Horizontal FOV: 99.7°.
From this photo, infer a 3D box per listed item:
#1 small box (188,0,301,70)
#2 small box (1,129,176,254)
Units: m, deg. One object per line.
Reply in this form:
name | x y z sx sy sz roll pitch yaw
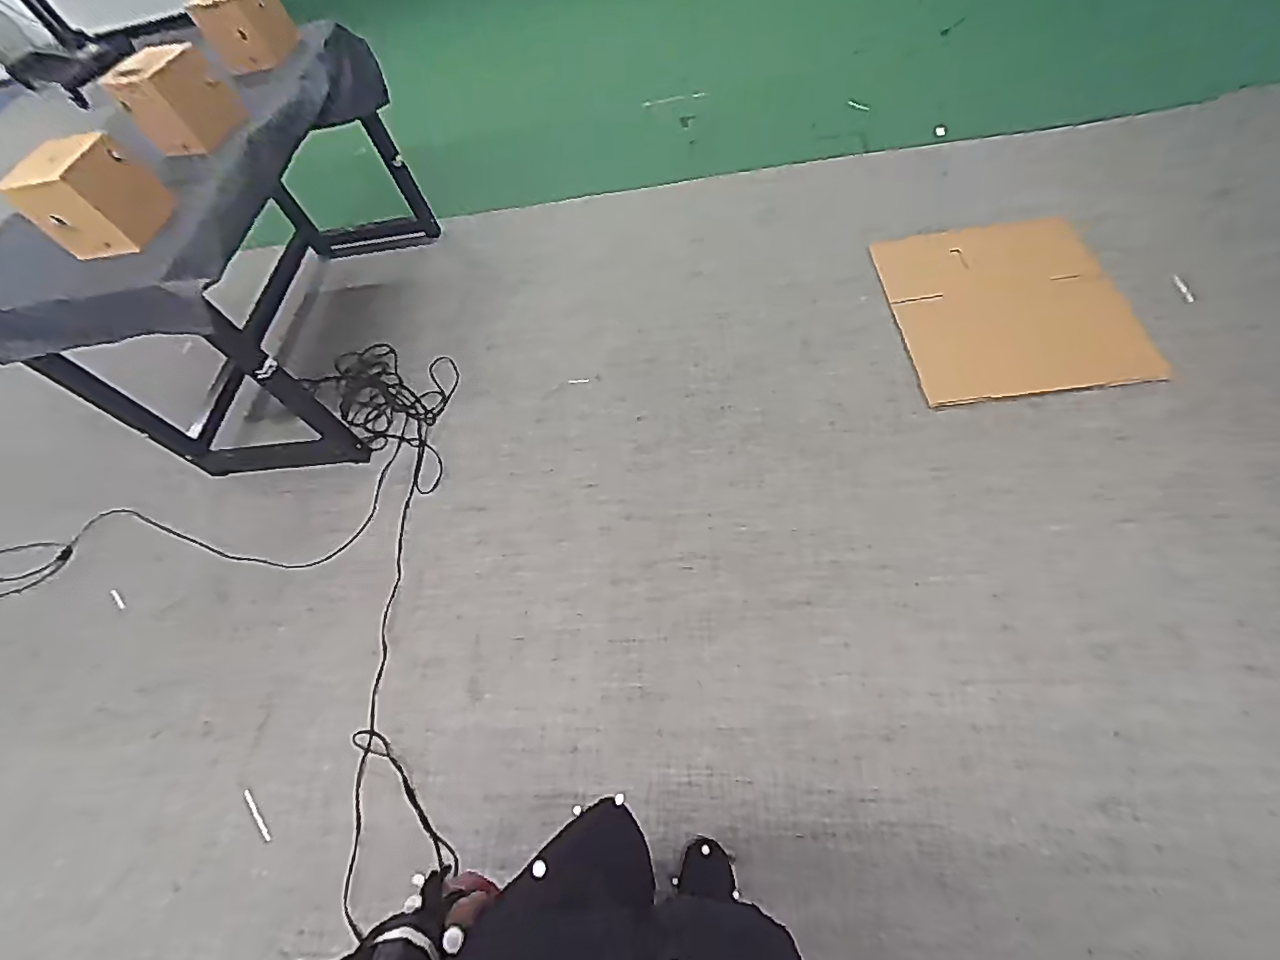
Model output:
small box | -1.128 -1.316 1.559 0.168 0.176 0.179 1 60 11
small box | -1.159 -0.606 1.155 0.168 0.176 0.179 -3 59 10
